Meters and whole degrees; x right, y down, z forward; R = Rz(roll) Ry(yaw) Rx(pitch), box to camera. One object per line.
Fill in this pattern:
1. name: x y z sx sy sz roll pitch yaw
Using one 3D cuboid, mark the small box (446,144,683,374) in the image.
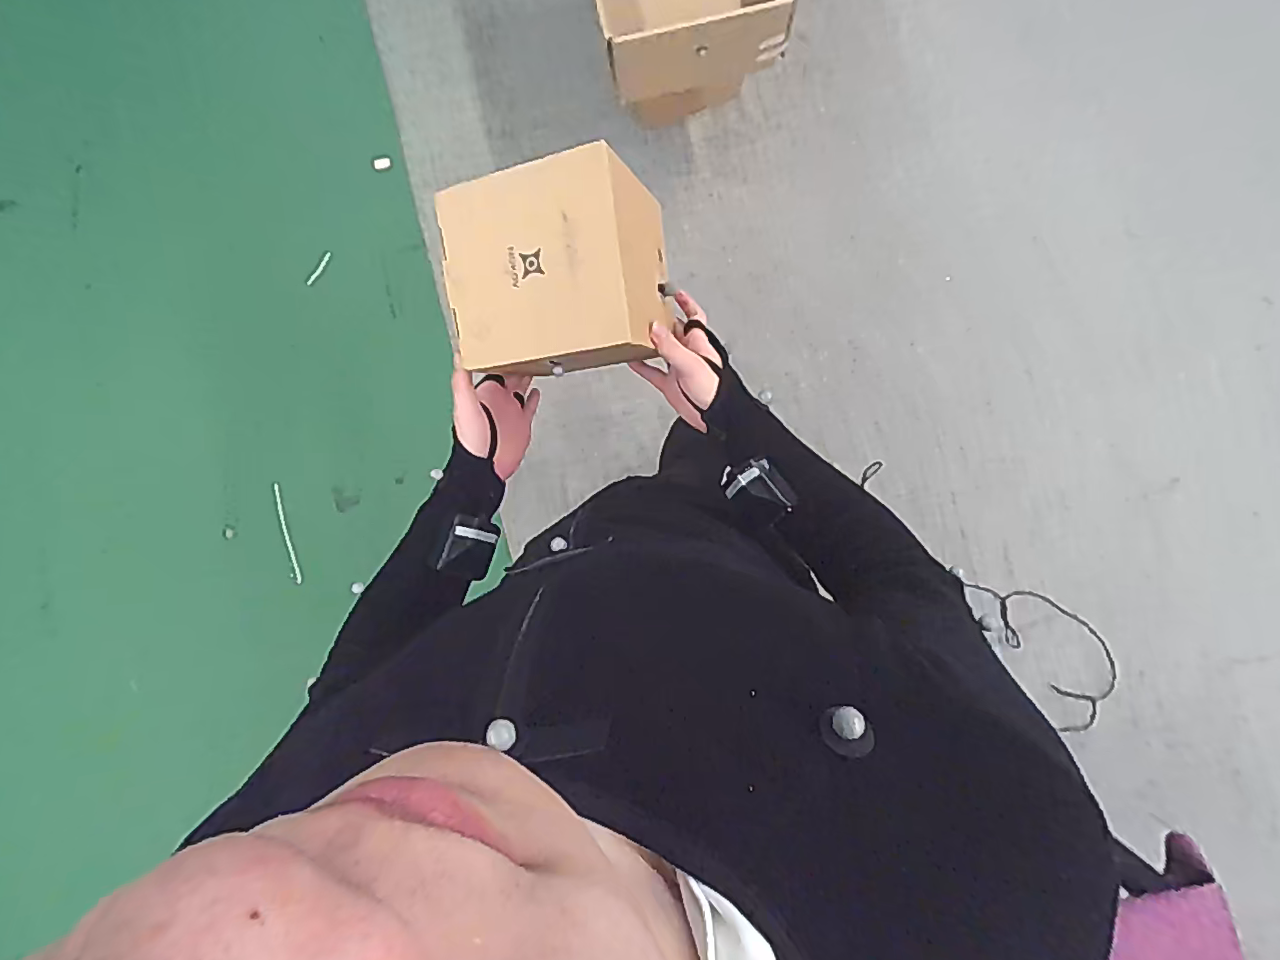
1. small box: -0.065 -0.202 0.555 0.179 0.176 0.168 -4 97 18
